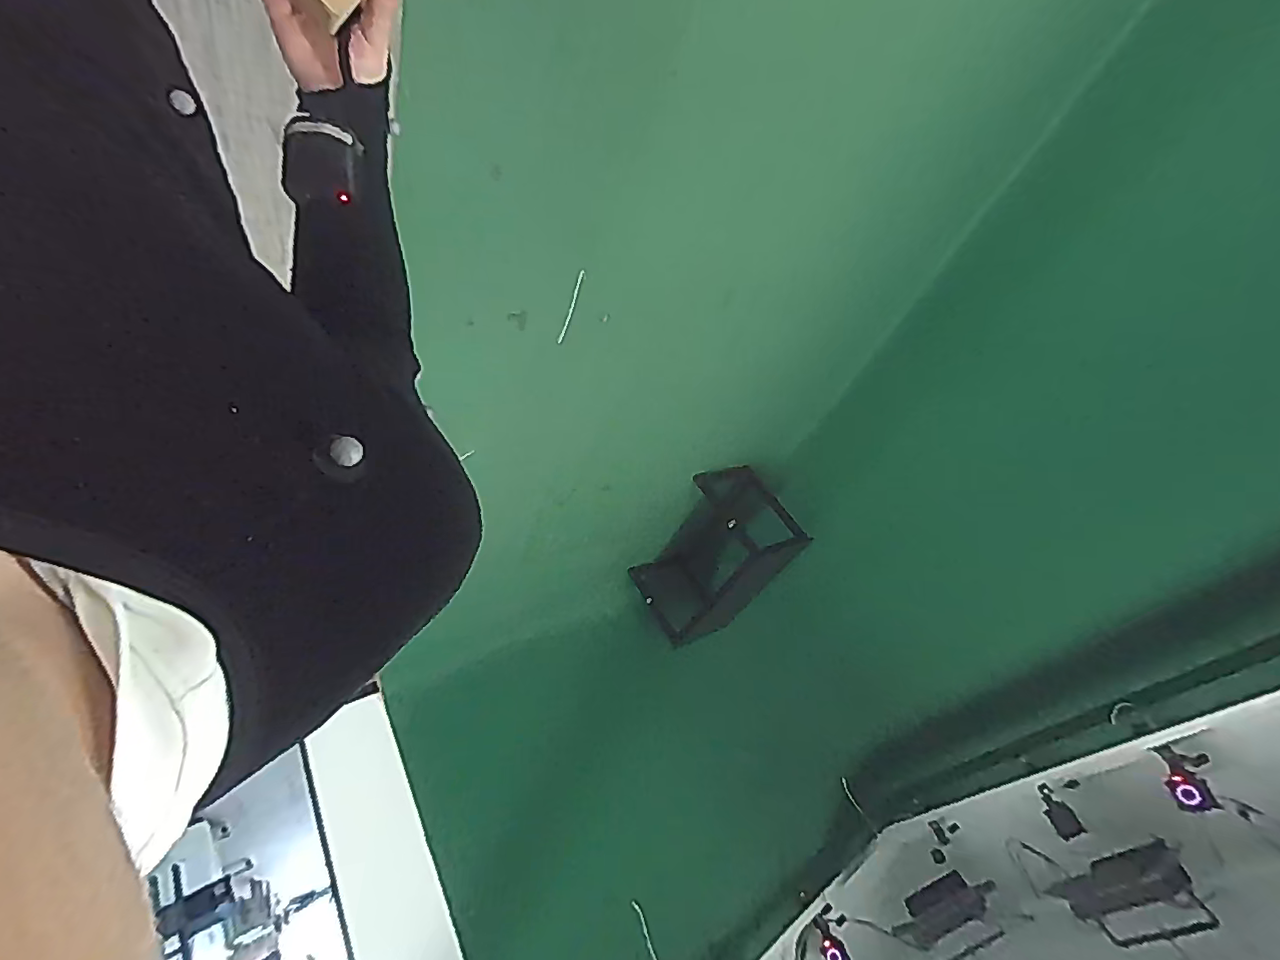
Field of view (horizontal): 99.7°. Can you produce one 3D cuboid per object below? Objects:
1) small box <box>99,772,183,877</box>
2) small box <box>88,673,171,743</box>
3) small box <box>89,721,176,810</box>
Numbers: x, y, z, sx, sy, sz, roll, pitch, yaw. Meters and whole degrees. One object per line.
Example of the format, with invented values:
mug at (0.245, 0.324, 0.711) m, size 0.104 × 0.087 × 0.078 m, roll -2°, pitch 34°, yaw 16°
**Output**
small box at (-1.411, 0.967, 1.530) m, size 0.168 × 0.176 × 0.179 m, roll -3°, pitch 136°, yaw -45°
small box at (-1.582, 0.734, 1.681) m, size 0.168 × 0.176 × 0.179 m, roll -11°, pitch 143°, yaw -38°
small box at (-1.498, 0.848, 1.603) m, size 0.168 × 0.176 × 0.179 m, roll -11°, pitch 142°, yaw -37°
